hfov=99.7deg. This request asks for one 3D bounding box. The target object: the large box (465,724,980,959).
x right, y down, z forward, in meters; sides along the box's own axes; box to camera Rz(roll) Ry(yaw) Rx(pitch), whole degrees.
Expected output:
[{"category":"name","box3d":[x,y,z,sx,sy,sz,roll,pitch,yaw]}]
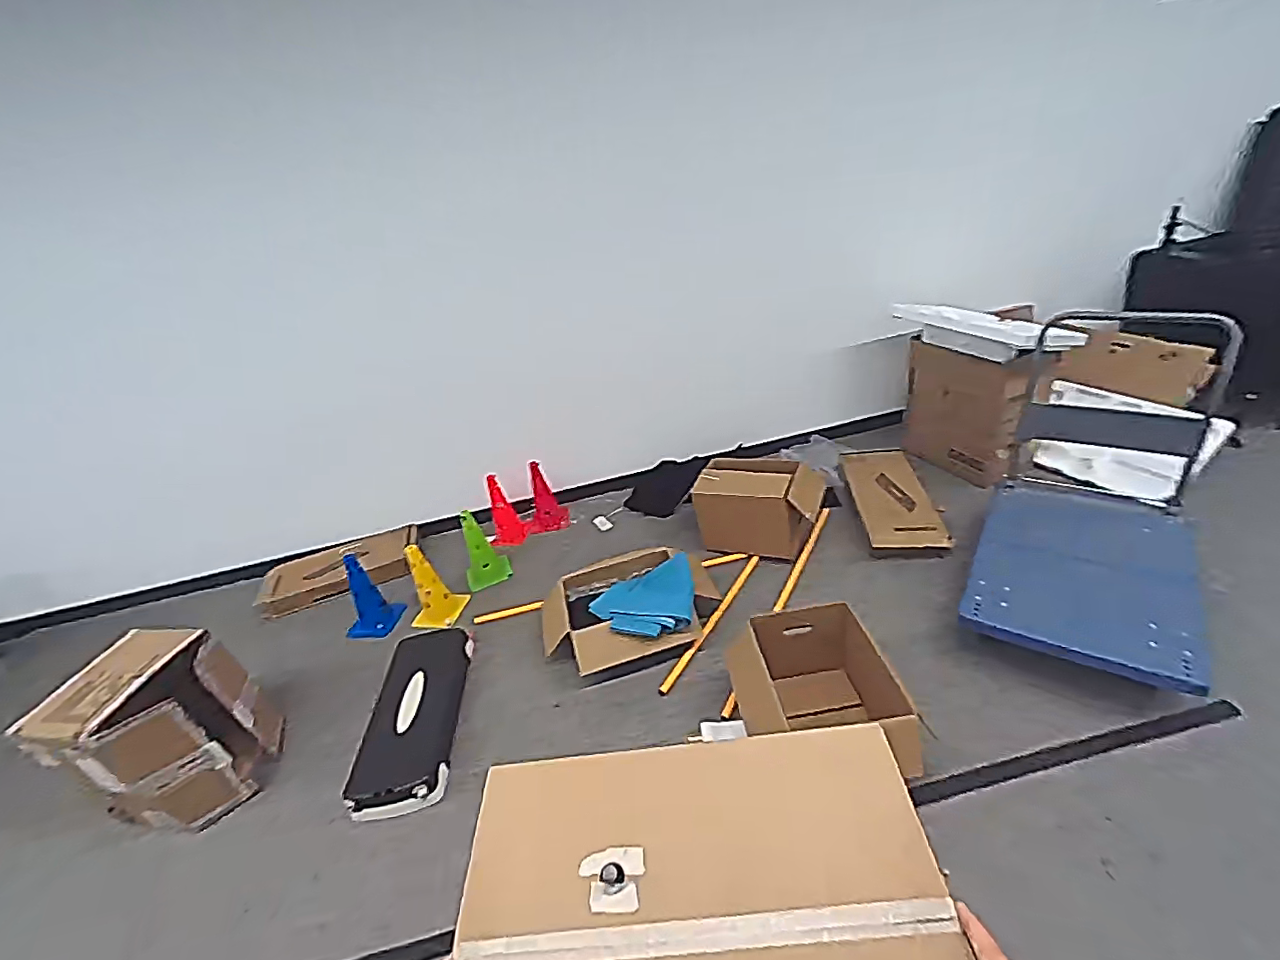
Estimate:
[{"category":"large box","box3d":[0.080,0.480,0.511,0.408,0.320,0.320,-10,35,6]}]
